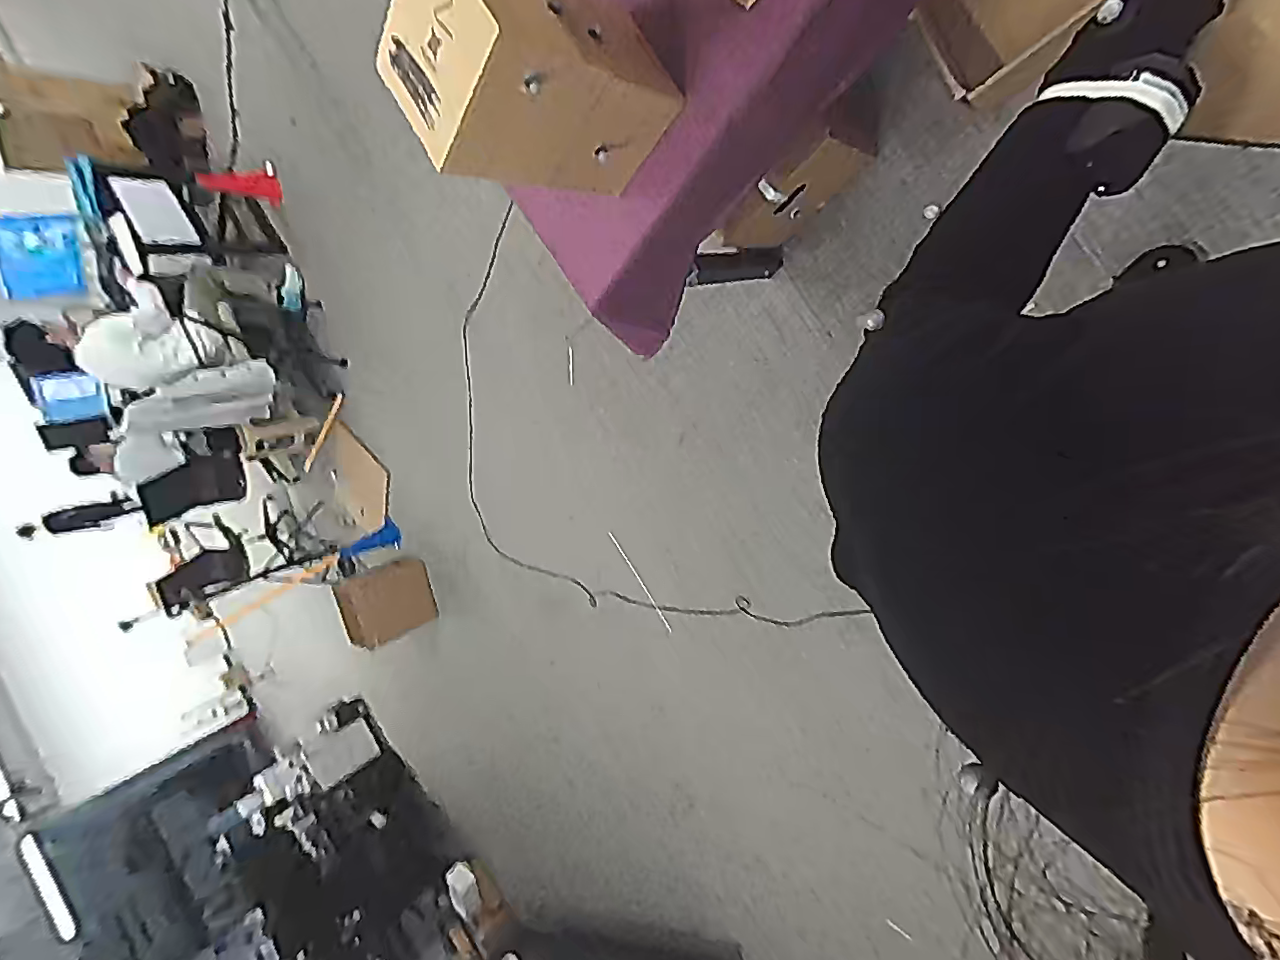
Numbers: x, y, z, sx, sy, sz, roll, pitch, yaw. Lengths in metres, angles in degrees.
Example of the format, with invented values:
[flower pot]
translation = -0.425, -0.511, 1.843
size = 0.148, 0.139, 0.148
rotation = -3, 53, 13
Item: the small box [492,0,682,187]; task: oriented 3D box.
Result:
[small box]
translation = -0.074, -0.550, 0.774
size = 0.179, 0.176, 0.168
rotation = -35, 85, 44
